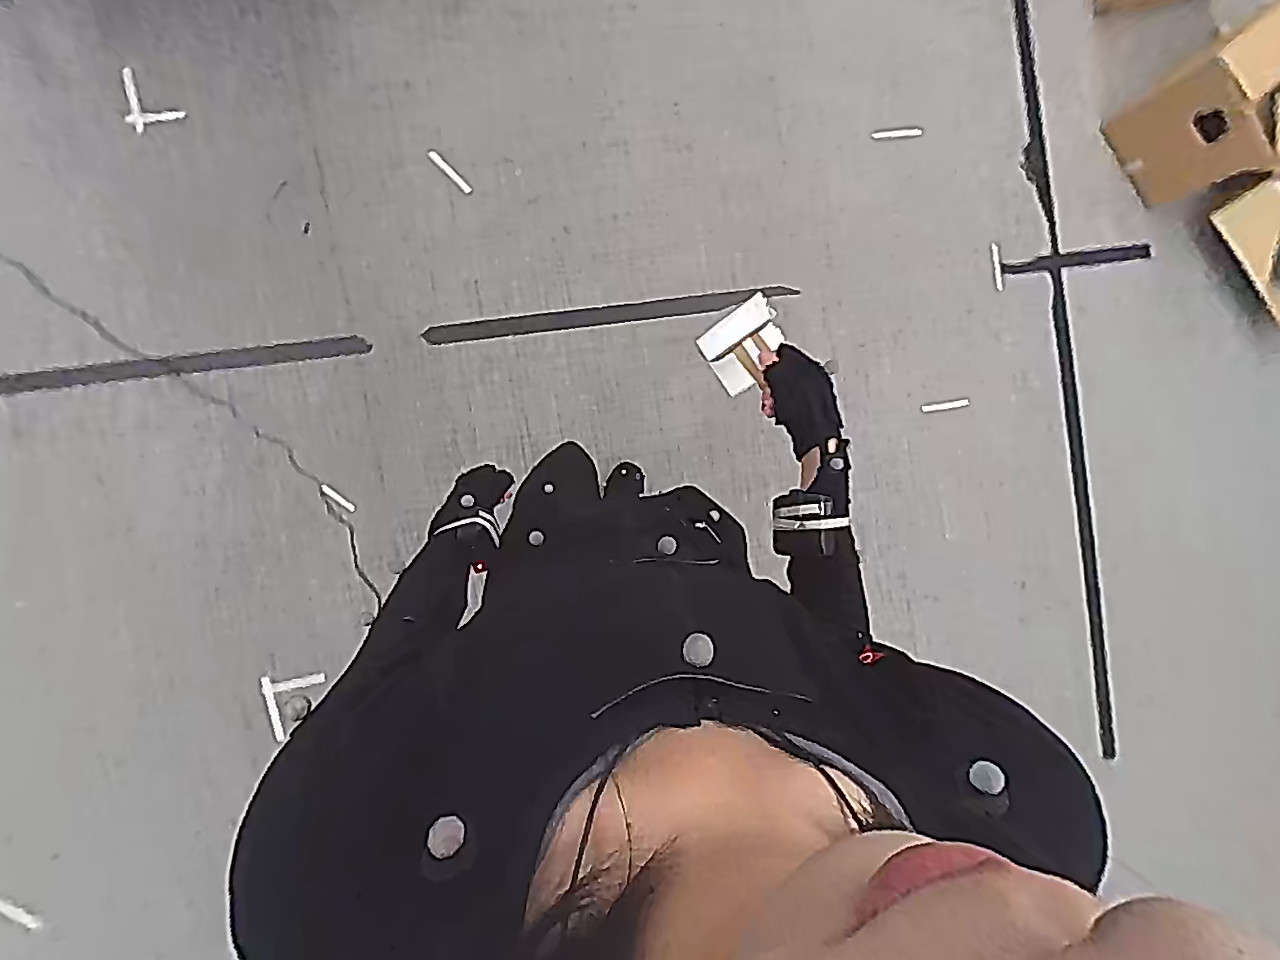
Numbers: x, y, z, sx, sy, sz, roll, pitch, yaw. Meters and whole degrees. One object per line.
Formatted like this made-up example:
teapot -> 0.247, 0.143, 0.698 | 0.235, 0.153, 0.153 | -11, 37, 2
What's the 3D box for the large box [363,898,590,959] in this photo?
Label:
large box -> -0.252, 0.901, 0.764 | 0.408, 0.320, 0.320 | -12, 93, -6
